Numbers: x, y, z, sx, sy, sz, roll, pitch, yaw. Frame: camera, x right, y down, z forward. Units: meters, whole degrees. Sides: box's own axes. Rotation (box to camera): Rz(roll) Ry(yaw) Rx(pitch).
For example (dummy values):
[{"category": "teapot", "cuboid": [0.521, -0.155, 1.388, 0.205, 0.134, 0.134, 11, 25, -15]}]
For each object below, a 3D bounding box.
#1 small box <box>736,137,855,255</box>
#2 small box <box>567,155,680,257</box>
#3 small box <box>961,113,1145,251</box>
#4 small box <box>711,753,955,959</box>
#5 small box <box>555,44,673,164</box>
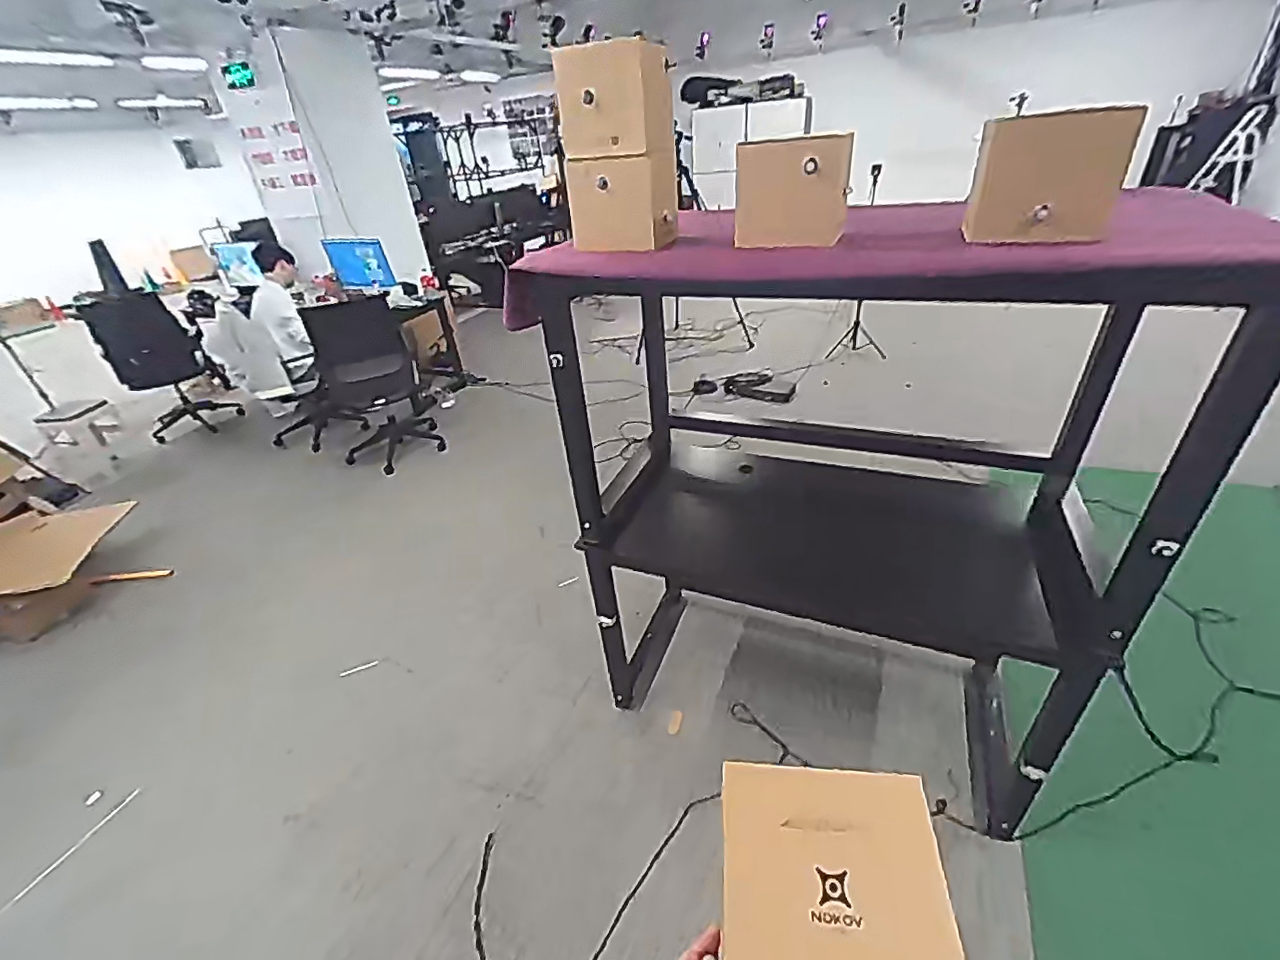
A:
[{"category": "small box", "cuboid": [0.282, -0.515, 0.985, 0.179, 0.176, 0.168, 9, 34, 23]}, {"category": "small box", "cuboid": [-0.025, -0.557, 1.104, 0.179, 0.176, 0.168, 8, 35, 20]}, {"category": "small box", "cuboid": [0.619, -0.459, 0.838, 0.179, 0.176, 0.168, 9, 33, 23]}, {"category": "small box", "cuboid": [0.146, 0.357, 0.456, 0.168, 0.176, 0.179, 0, 44, 8]}, {"category": "small box", "cuboid": [-0.038, -0.696, 1.022, 0.168, 0.176, 0.179, 7, 33, 19]}]
